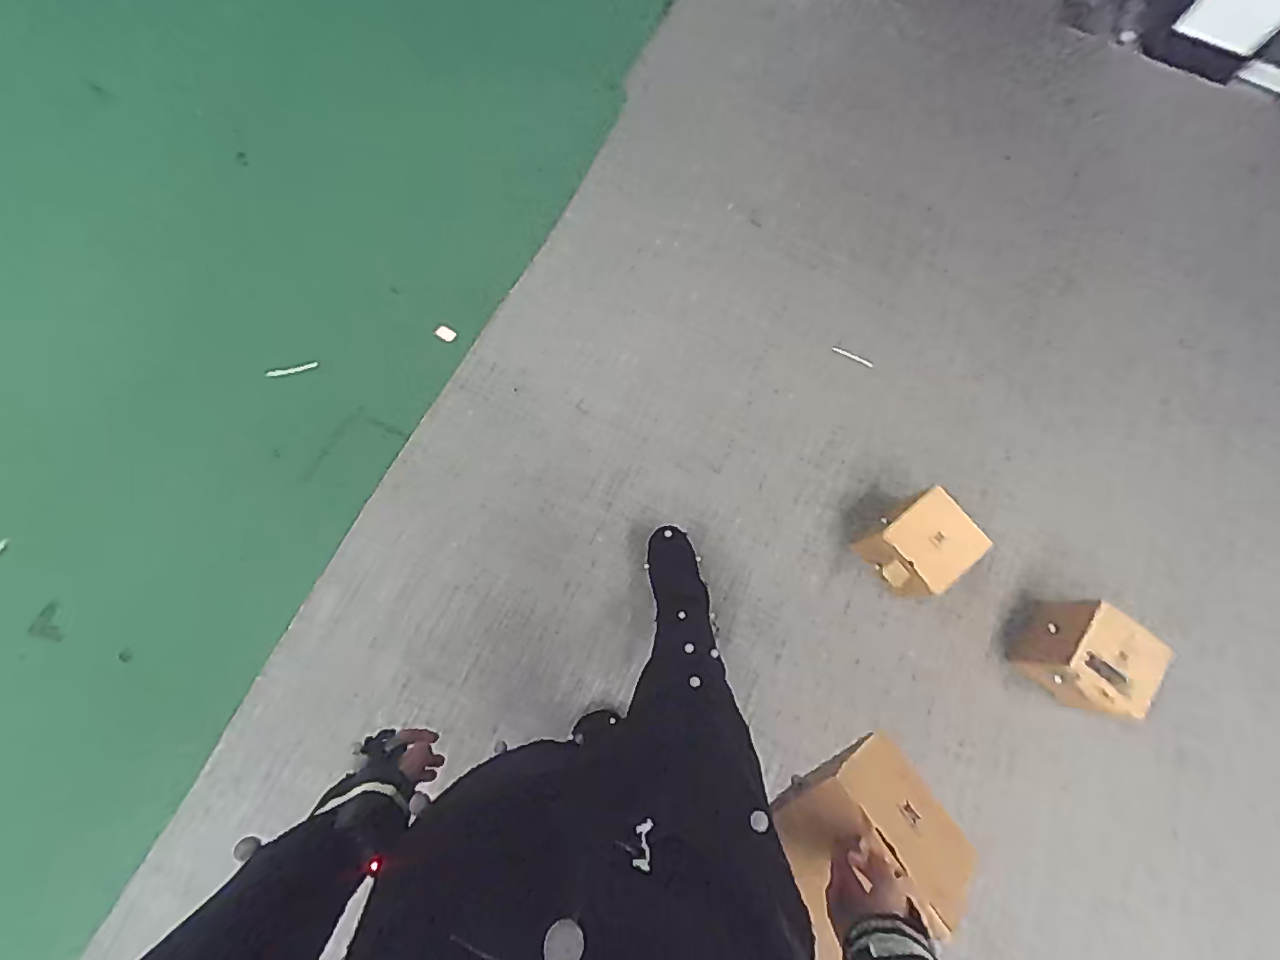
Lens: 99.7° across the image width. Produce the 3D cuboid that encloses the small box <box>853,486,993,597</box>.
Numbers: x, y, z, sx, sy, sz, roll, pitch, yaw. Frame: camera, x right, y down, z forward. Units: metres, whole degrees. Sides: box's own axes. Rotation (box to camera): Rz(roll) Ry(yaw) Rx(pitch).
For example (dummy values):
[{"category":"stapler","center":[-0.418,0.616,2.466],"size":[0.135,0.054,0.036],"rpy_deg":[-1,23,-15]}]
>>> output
[{"category":"small box","center":[0.609,0.140,1.188],"size":[0.179,0.176,0.168],"rpy_deg":[-37,81,-11]}]

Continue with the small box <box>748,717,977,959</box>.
[{"category":"small box","center":[0.254,0.418,0.638],"size":[0.176,0.179,0.168],"rpy_deg":[-47,61,23]}]
